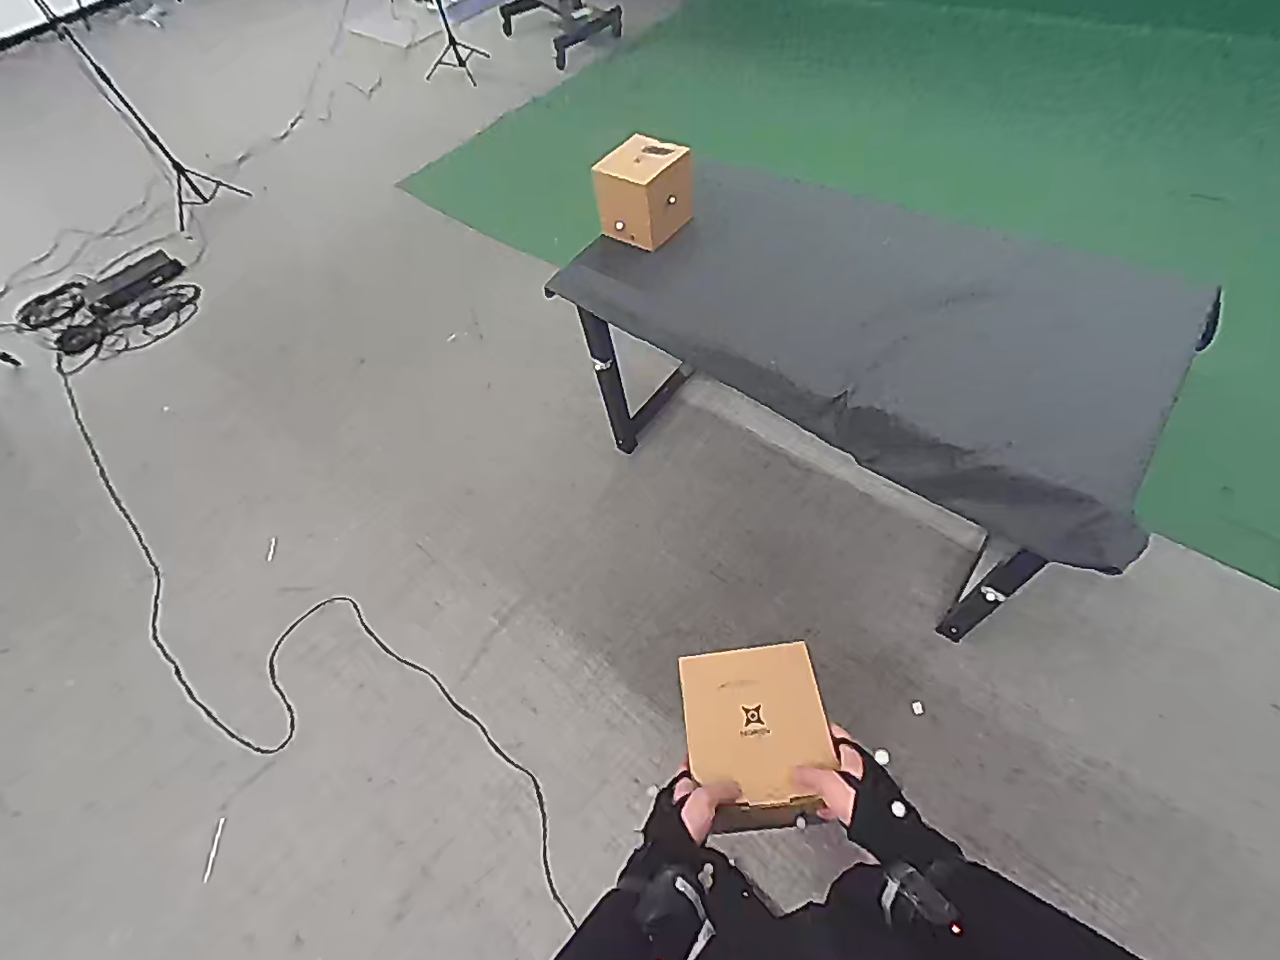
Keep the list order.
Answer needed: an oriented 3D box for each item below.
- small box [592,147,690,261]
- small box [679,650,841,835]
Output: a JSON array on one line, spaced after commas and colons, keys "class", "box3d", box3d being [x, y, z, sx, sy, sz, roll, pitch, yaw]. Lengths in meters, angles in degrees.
[{"class": "small box", "box3d": [0.008, -0.676, 1.326, 0.168, 0.176, 0.179, 30, 66, 25]}, {"class": "small box", "box3d": [0.149, 0.347, 0.705, 0.168, 0.176, 0.179, -9, 47, 4]}]
